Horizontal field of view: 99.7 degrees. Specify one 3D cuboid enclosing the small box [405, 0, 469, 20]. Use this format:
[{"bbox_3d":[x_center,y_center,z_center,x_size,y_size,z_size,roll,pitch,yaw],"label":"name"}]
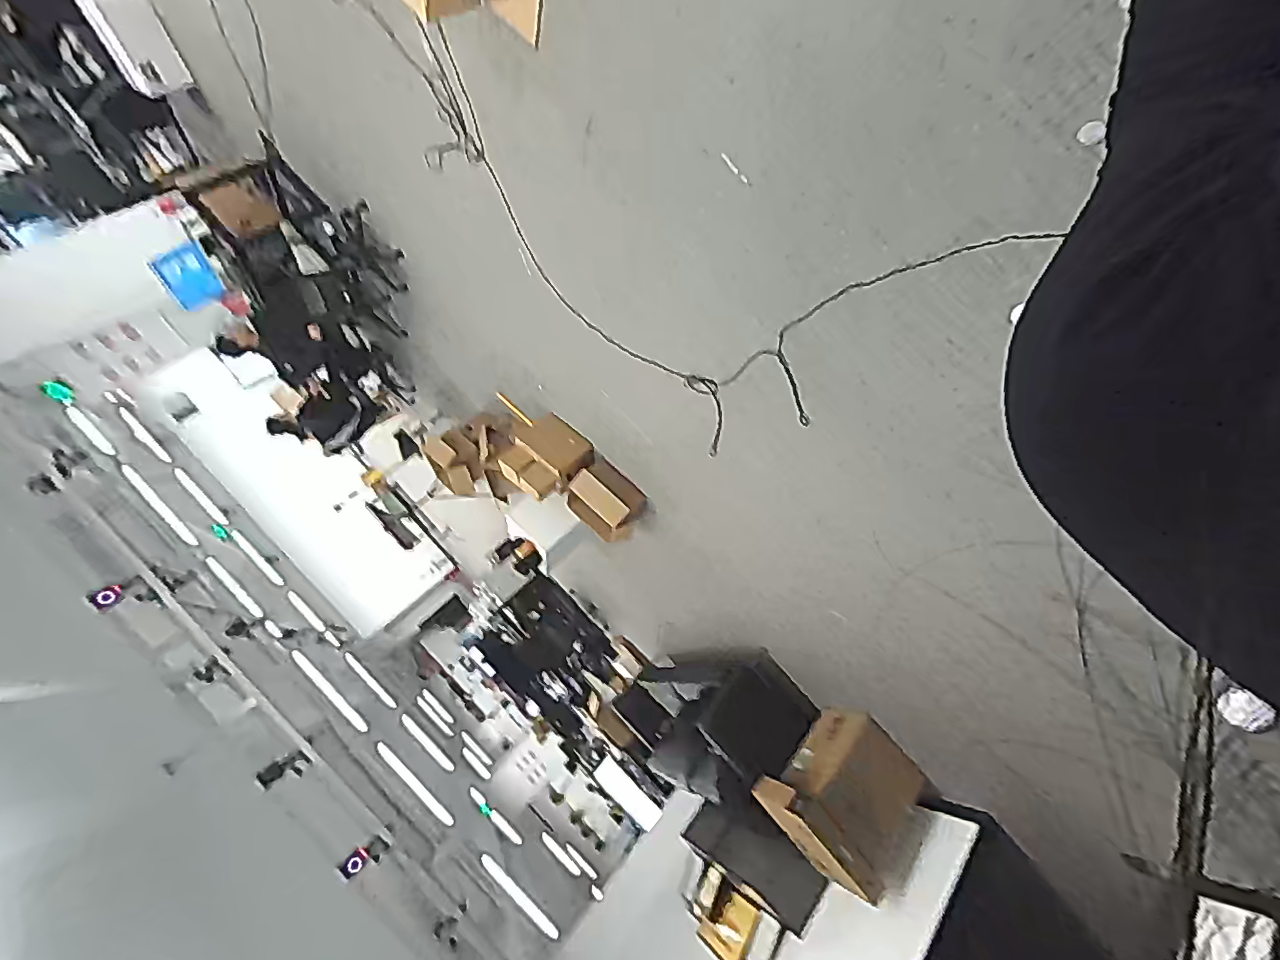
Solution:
[{"bbox_3d":[-0.624,-1.517,1.589,0.179,0.176,0.168,47,156,-1],"label":"small box"}]
